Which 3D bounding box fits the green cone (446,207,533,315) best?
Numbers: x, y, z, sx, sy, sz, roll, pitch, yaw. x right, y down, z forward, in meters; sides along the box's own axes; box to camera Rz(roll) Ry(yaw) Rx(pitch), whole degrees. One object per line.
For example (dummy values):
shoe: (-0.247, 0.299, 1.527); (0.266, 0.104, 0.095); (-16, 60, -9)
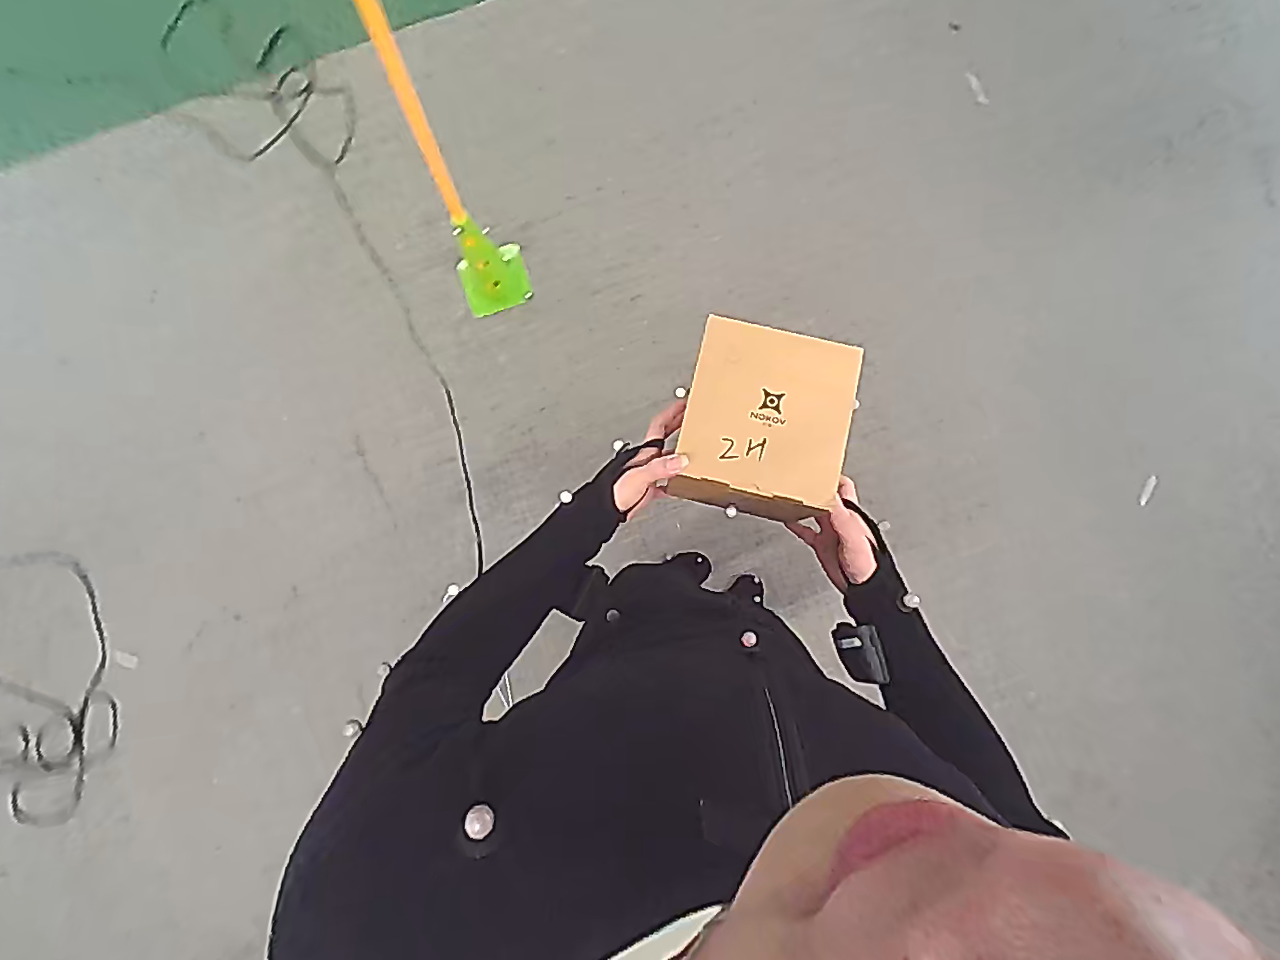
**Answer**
green cone: (-0.455, -0.651, 1.524); (0.202, 0.368, 0.200); (-19, 84, -1)
